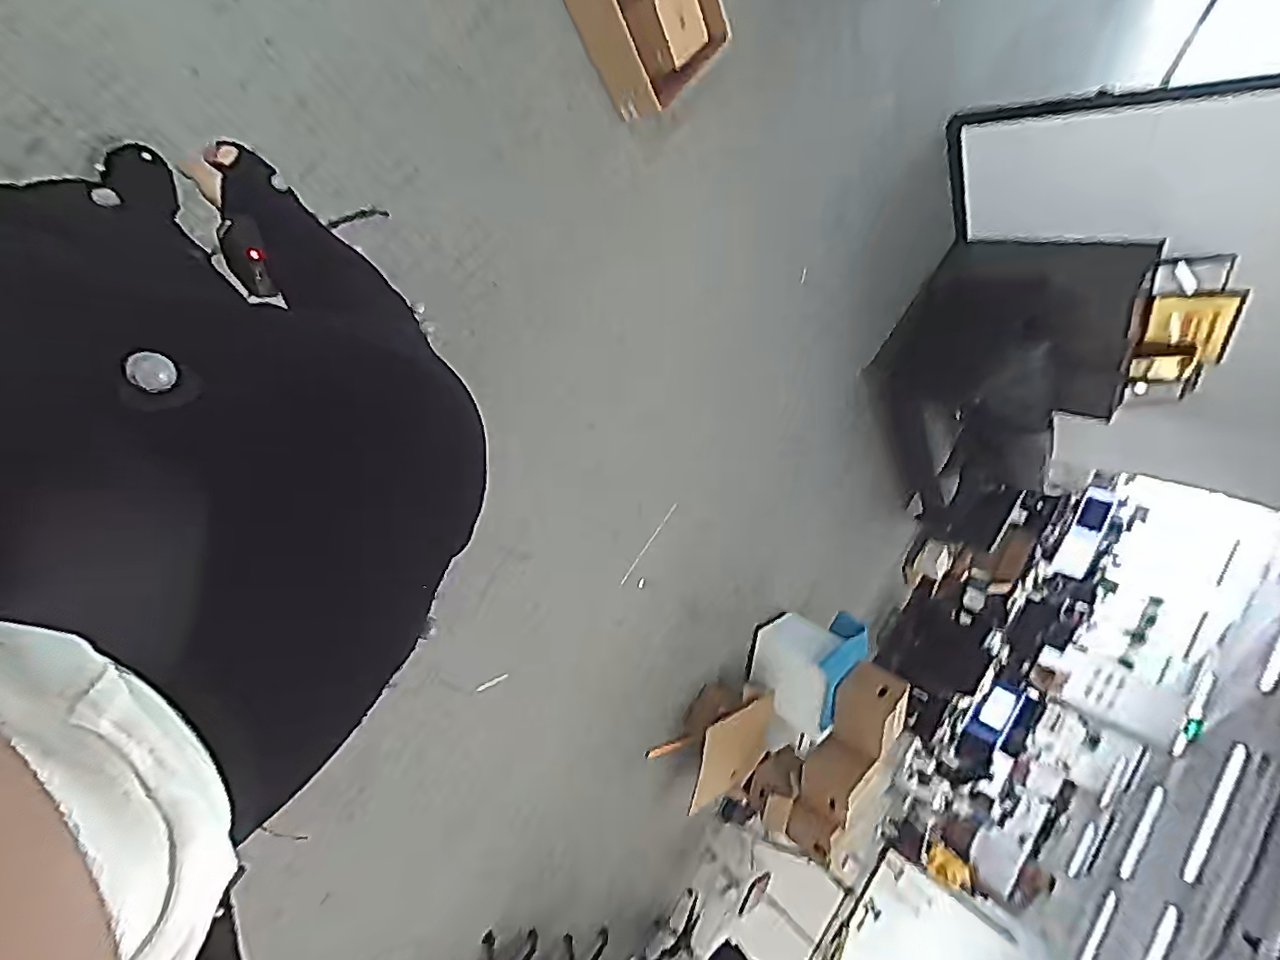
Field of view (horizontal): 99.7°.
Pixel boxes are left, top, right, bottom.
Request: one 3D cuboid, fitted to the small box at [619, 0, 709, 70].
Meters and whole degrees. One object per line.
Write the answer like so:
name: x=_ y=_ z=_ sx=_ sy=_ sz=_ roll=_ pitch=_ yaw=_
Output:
small box: x=0.071 y=-1.372 z=1.624 sx=0.168 sy=0.176 sz=0.179 roll=-50 pitch=135 yaw=-14
